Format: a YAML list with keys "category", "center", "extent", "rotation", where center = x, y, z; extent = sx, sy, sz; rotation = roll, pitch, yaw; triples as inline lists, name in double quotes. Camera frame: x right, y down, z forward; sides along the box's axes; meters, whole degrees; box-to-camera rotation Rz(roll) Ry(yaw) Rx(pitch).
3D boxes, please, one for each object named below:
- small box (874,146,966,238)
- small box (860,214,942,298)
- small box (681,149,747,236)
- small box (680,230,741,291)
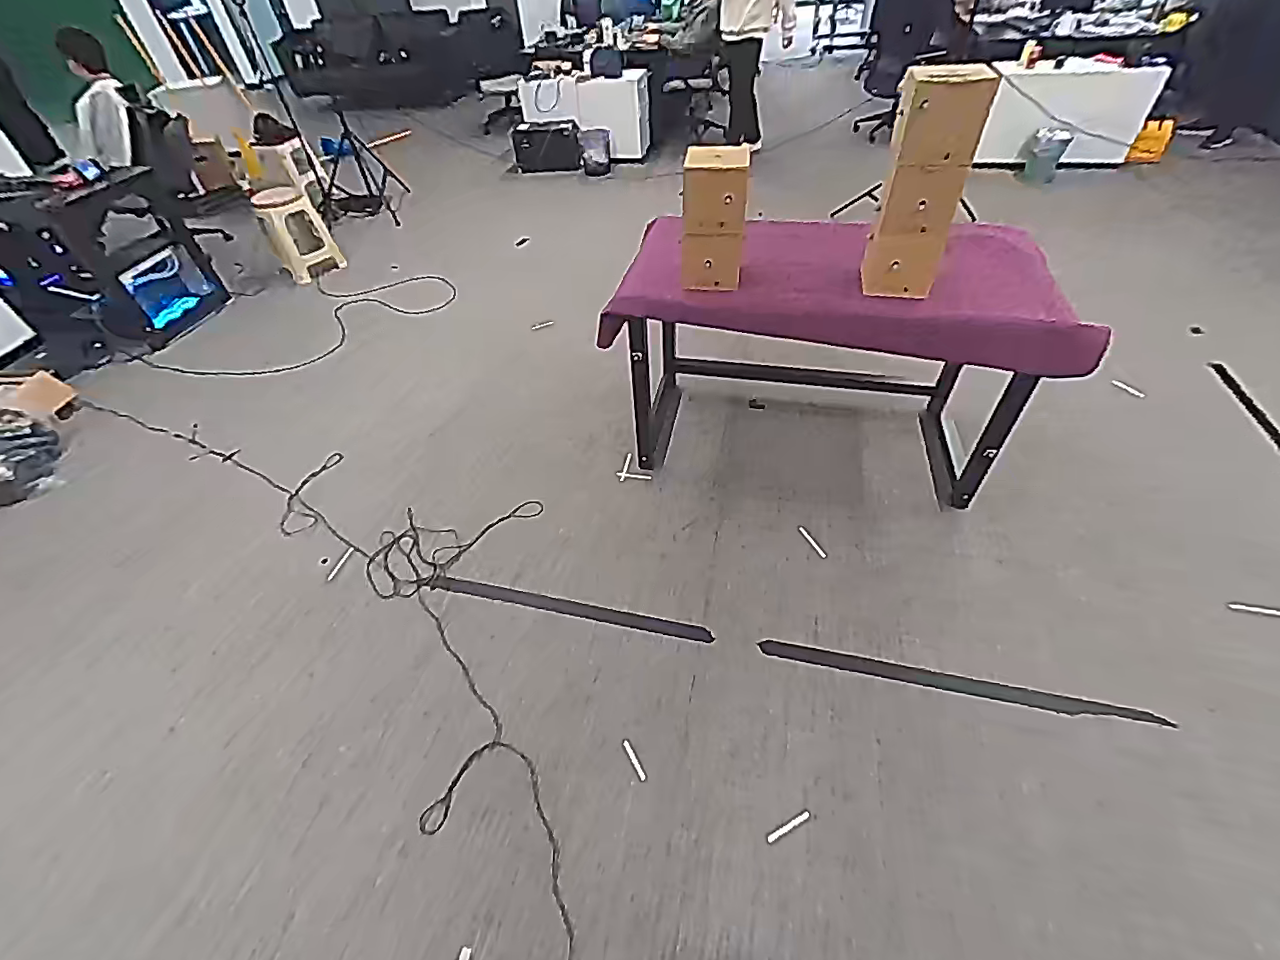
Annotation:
- category: "small box"
  center: [0.711, -0.739, 1.391]
  extent: [0.168, 0.176, 0.179]
  rotation: [8, 47, 12]
- category: "small box"
  center: [0.719, -0.622, 1.505]
  extent: [0.168, 0.176, 0.179]
  rotation: [7, 46, 12]
- category: "small box"
  center: [0.200, -0.777, 1.463]
  extent: [0.168, 0.176, 0.179]
  rotation: [4, 45, 6]
- category: "small box"
  center: [0.208, -0.669, 1.585]
  extent: [0.168, 0.176, 0.179]
  rotation: [5, 46, 8]
